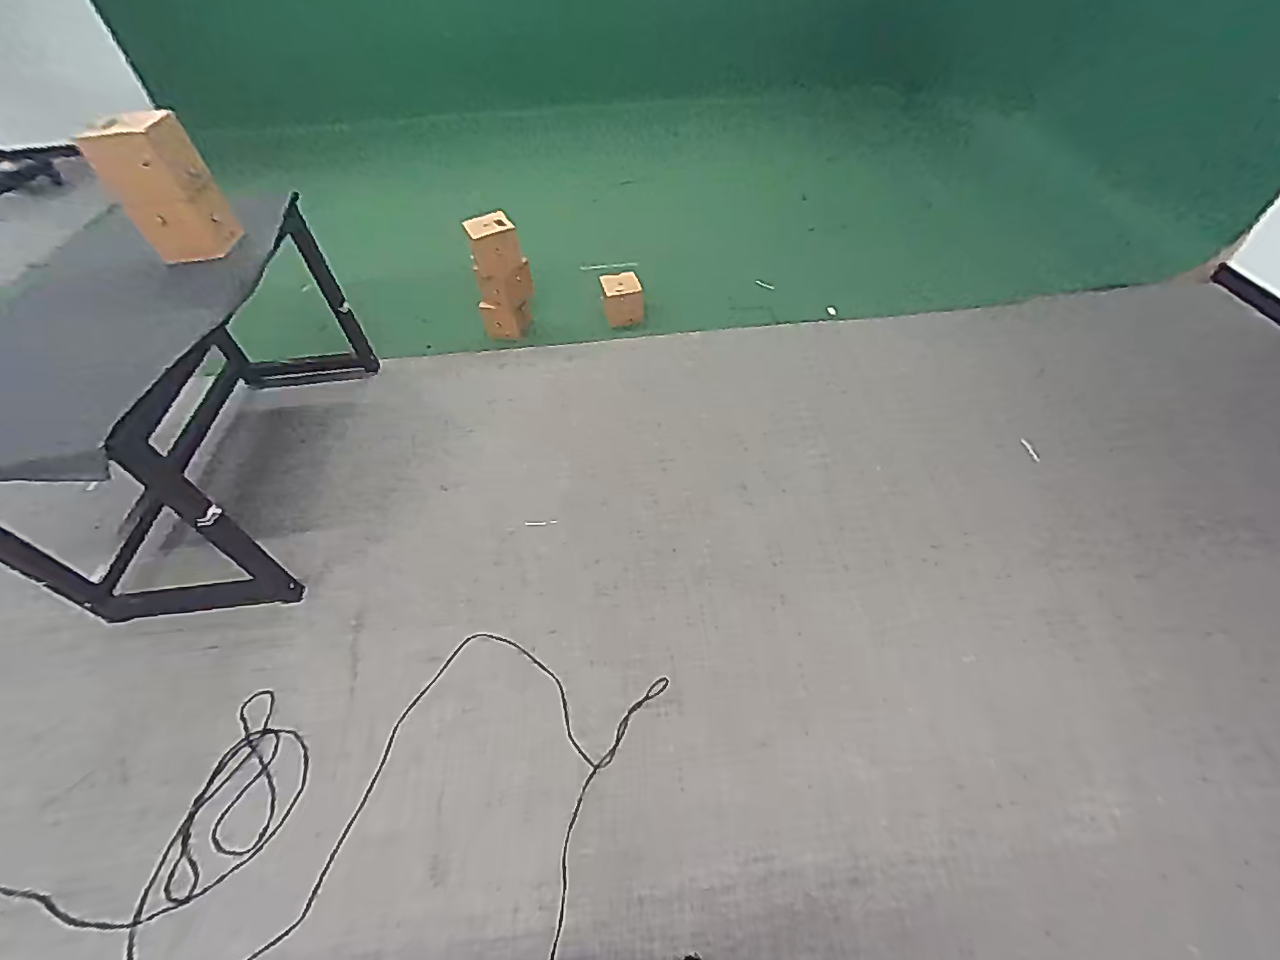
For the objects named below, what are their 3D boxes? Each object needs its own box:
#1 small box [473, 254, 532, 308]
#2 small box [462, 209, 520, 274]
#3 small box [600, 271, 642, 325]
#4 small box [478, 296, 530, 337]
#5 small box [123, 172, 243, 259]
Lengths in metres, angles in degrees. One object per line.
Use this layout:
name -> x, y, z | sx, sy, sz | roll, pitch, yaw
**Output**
small box -> -0.593, -0.879, 2.358 | 0.168, 0.176, 0.179 | 26, 56, 20
small box -> -0.607, -0.982, 2.231 | 0.179, 0.176, 0.168 | -24, 55, -15
small box -> -0.089, -0.848, 2.519 | 0.168, 0.176, 0.179 | -12, 50, -8
small box -> -0.619, -0.778, 2.486 | 0.168, 0.176, 0.179 | 8, 51, 8
small box -> -1.305, -0.761, 1.561 | 0.179, 0.176, 0.168 | -6, 51, -1
